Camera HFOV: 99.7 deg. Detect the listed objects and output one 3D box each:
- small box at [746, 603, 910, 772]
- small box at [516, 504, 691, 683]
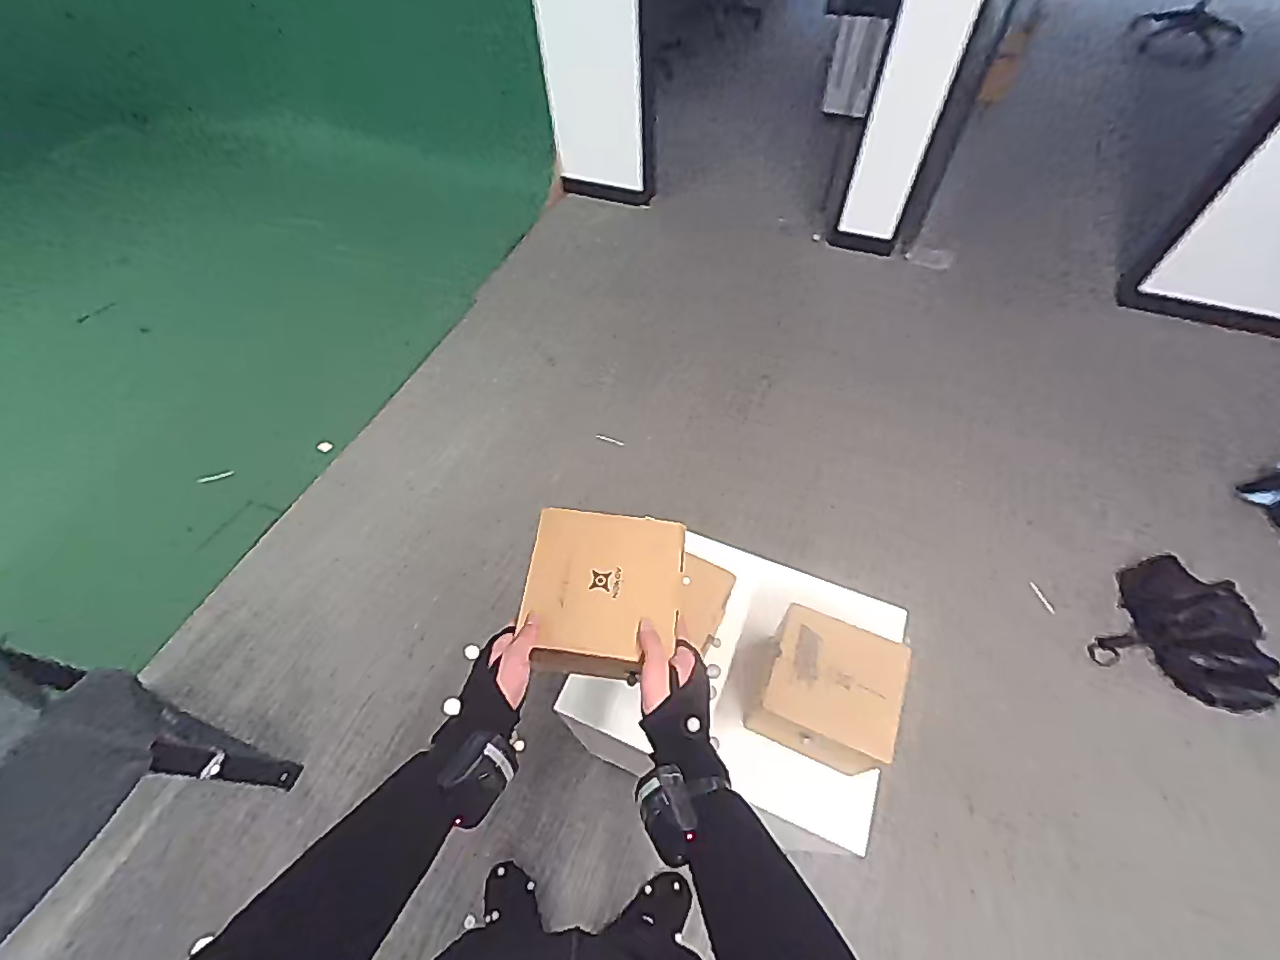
[{"bbox_3d":[0.273,0.317,0.813,0.179,0.176,0.168,20,58,12],"label":"small box"},{"bbox_3d":[-0.039,0.146,0.660,0.179,0.176,0.168,5,60,0],"label":"small box"}]
